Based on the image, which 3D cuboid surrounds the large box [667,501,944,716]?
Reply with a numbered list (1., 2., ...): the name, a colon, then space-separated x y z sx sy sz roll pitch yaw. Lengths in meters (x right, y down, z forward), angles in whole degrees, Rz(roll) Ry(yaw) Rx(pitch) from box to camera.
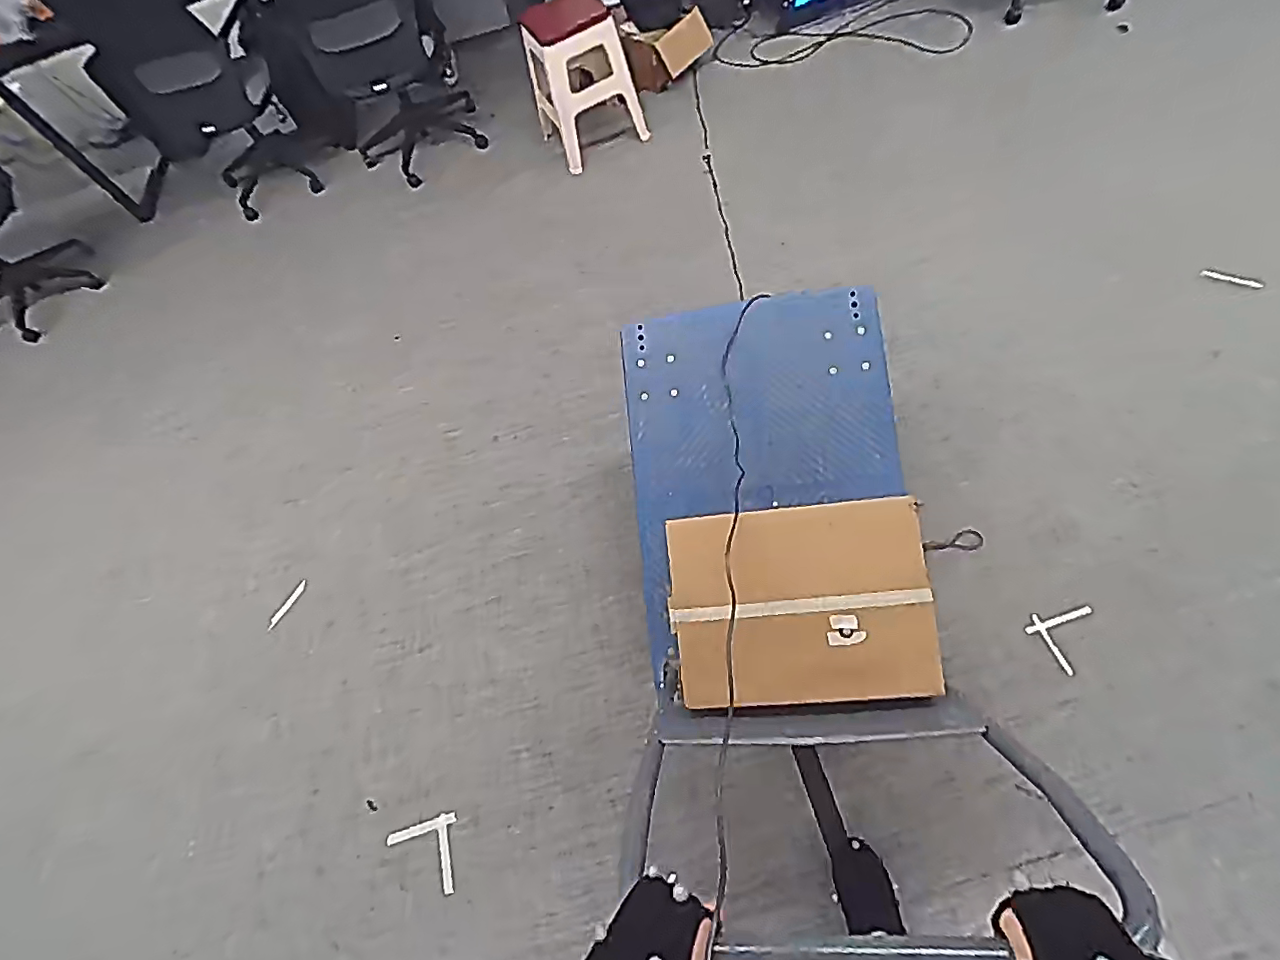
1. large box: 0.276 0.221 1.015 0.408 0.320 0.320 -7 86 8
